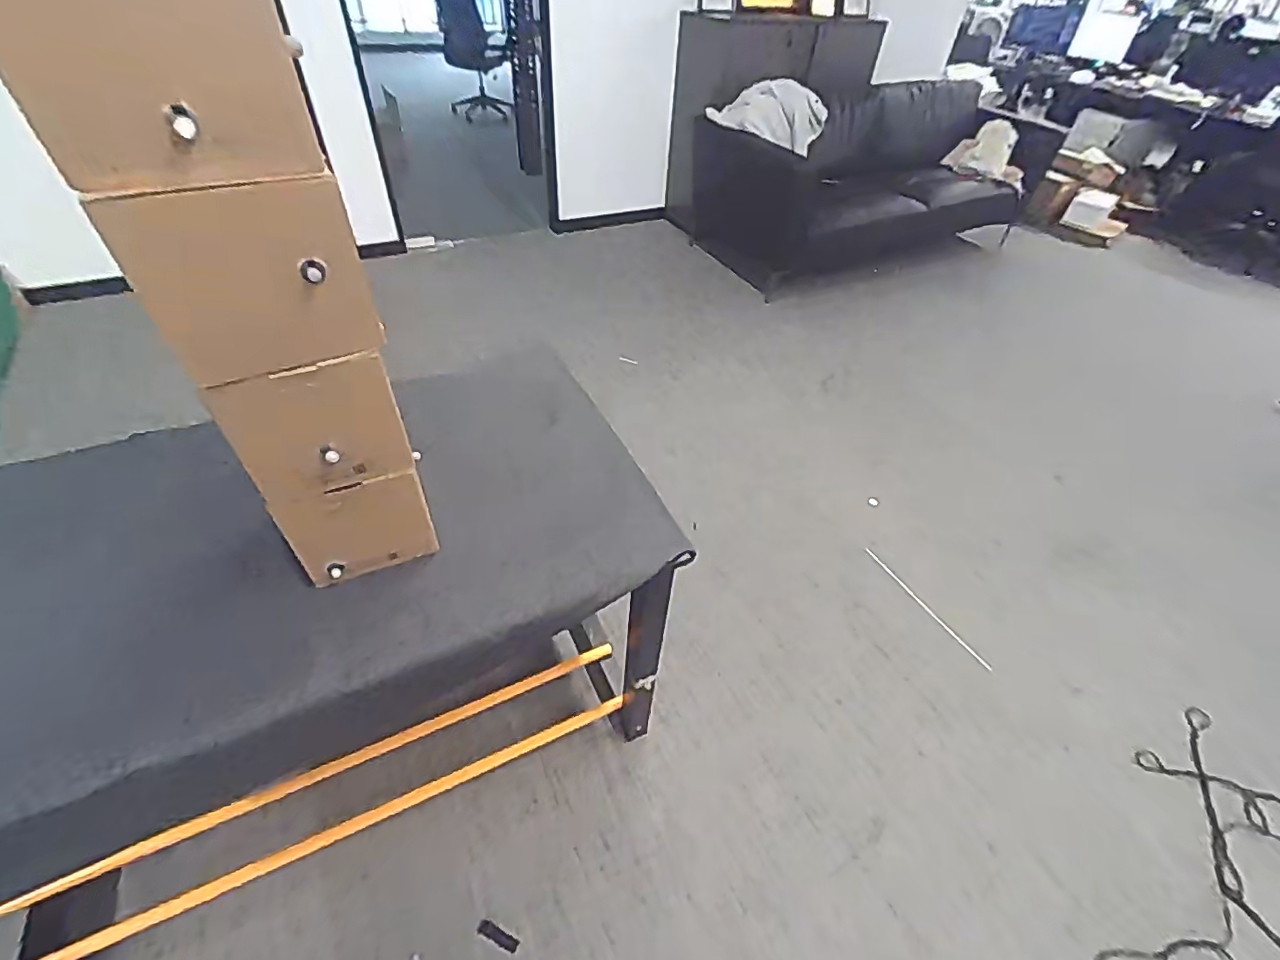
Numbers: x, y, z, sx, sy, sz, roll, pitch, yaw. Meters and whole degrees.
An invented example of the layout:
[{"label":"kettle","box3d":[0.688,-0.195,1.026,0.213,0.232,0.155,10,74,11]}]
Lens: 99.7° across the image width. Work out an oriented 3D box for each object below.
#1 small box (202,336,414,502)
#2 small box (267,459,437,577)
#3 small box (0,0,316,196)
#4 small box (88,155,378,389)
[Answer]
[{"label":"small box","box3d":[-0.390,-0.104,0.651,0.168,0.176,0.179,-19,50,-22]},{"label":"small box","box3d":[-0.400,0.015,0.765,0.168,0.176,0.179,-17,48,-21]},{"label":"small box","box3d":[-0.381,-0.344,0.430,0.179,0.176,0.168,-20,48,-24]},{"label":"small box","box3d":[-0.381,-0.217,0.535,0.179,0.176,0.168,-24,50,-25]}]
